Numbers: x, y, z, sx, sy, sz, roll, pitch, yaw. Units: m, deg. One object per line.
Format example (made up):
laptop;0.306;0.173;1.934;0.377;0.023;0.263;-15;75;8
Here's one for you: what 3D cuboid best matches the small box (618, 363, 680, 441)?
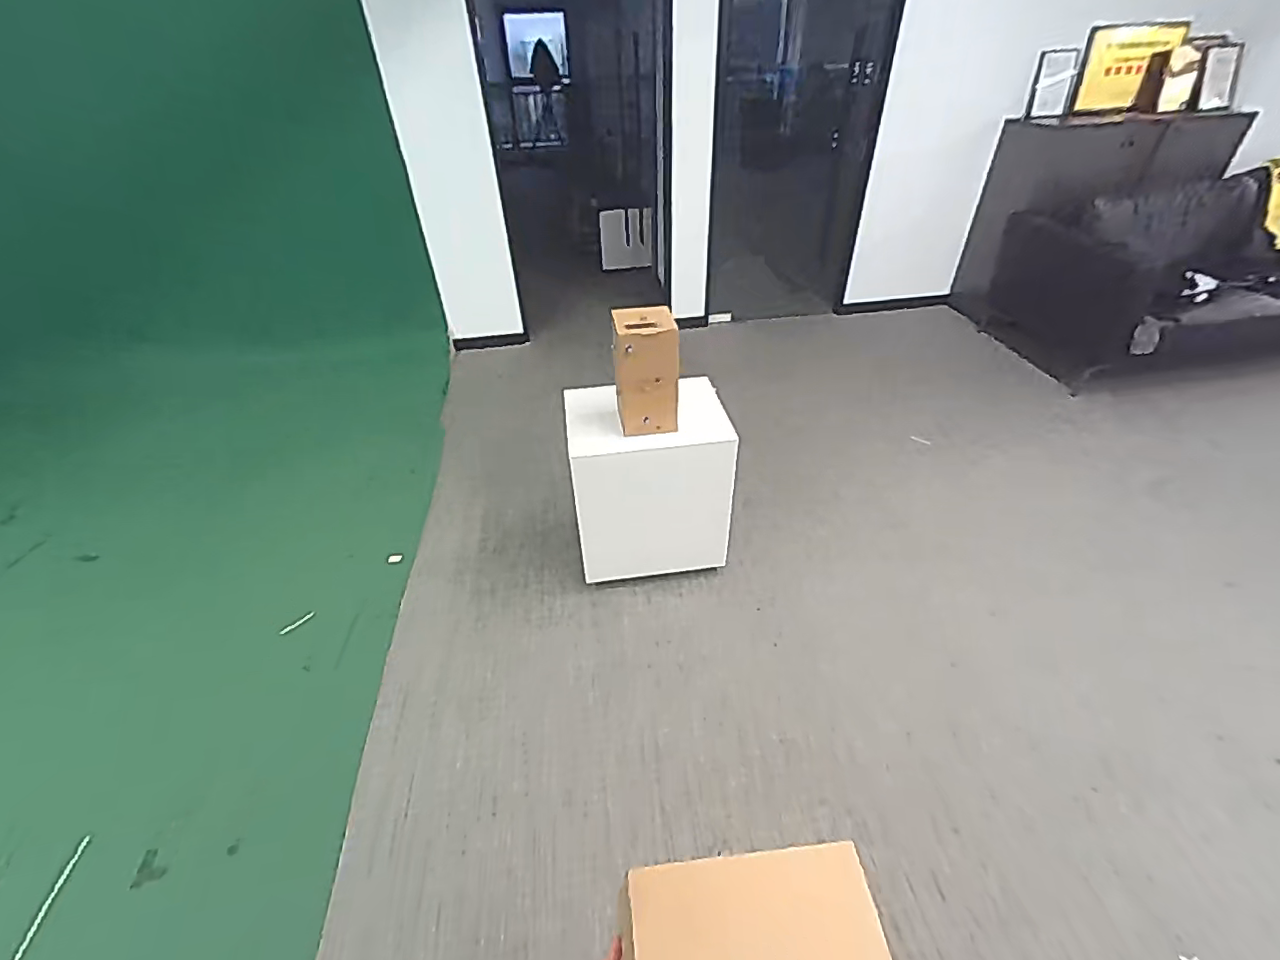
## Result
small box;0.025;-0.239;1.652;0.168;0.176;0.179;-7;38;-6
